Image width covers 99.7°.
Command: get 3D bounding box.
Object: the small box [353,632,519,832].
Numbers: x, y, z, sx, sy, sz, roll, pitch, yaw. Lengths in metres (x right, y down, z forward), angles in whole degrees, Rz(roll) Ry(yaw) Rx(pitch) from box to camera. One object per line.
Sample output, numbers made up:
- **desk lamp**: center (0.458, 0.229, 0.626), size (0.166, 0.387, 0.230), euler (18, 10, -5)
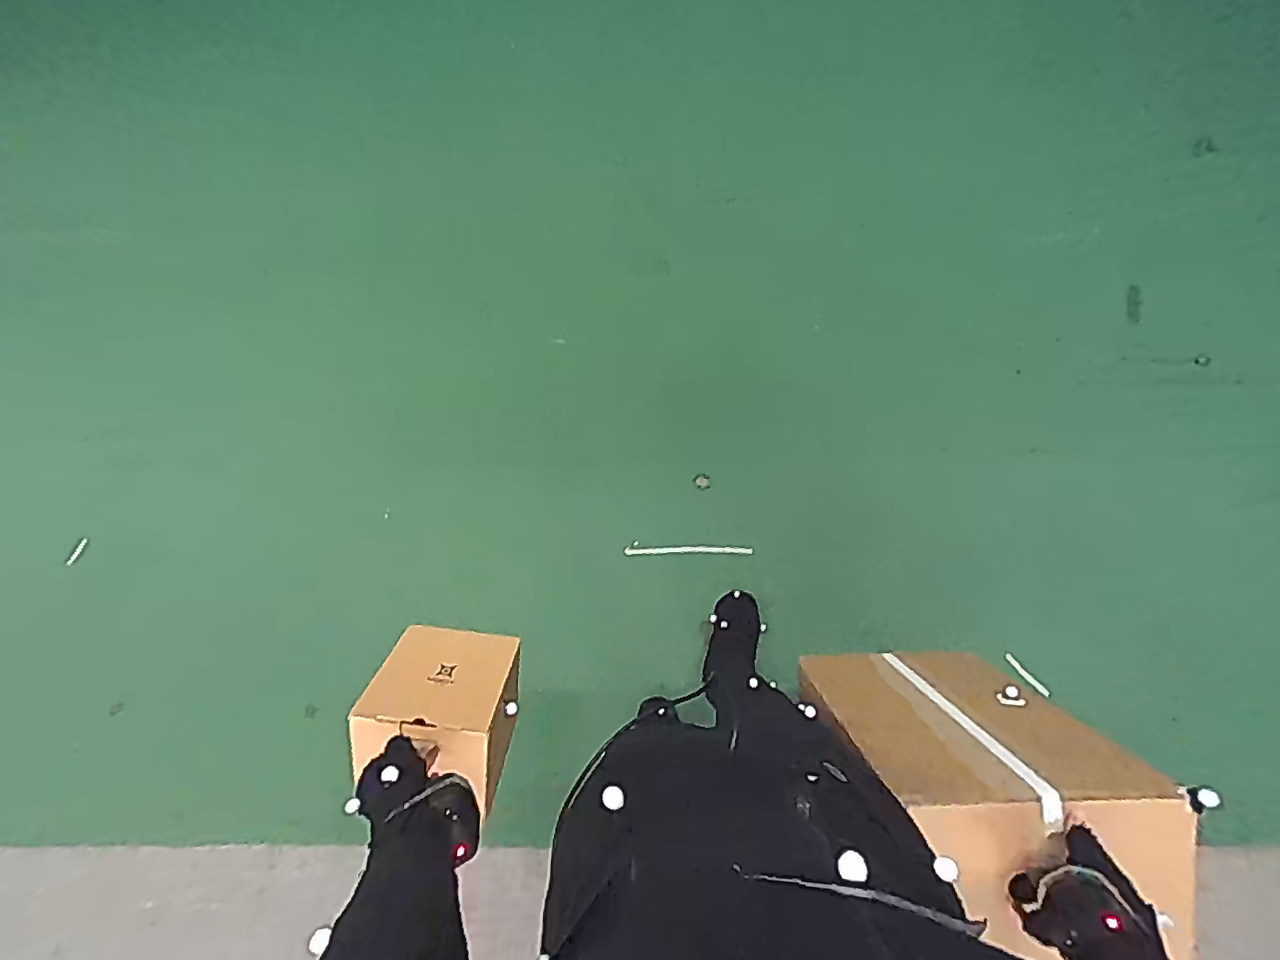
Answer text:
- **small box**: center (-0.272, 0.340, 0.748), size (0.168, 0.179, 0.176), euler (7, 111, -2)
